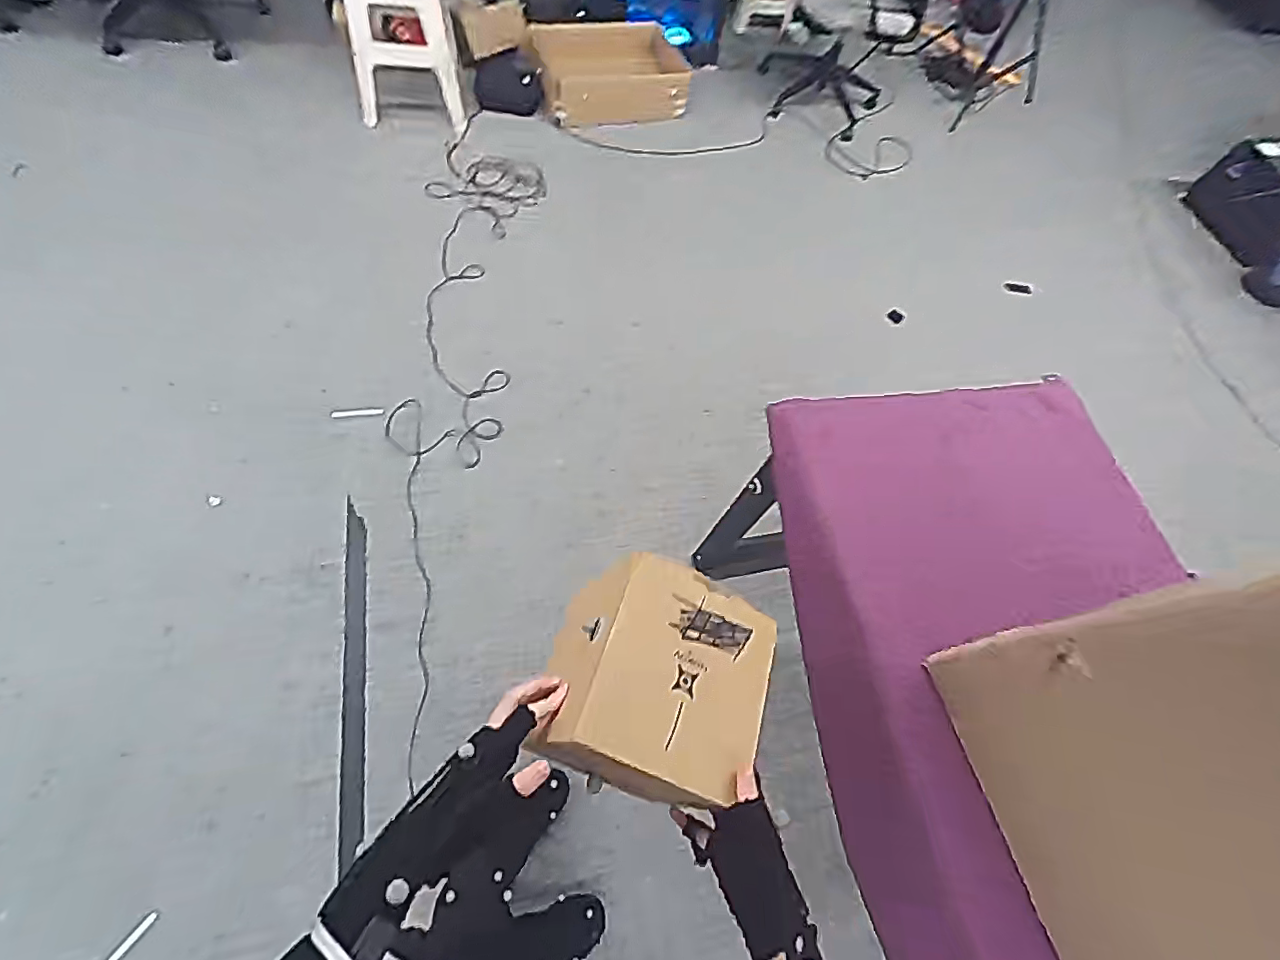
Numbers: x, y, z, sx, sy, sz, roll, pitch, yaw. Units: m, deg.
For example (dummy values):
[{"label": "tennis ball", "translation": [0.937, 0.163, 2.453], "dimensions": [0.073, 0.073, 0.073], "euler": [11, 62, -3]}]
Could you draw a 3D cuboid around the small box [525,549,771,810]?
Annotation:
[{"label": "small box", "translation": [0.004, 0.203, 0.543], "dimensions": [0.168, 0.176, 0.179], "euler": [29, 54, -11]}]
